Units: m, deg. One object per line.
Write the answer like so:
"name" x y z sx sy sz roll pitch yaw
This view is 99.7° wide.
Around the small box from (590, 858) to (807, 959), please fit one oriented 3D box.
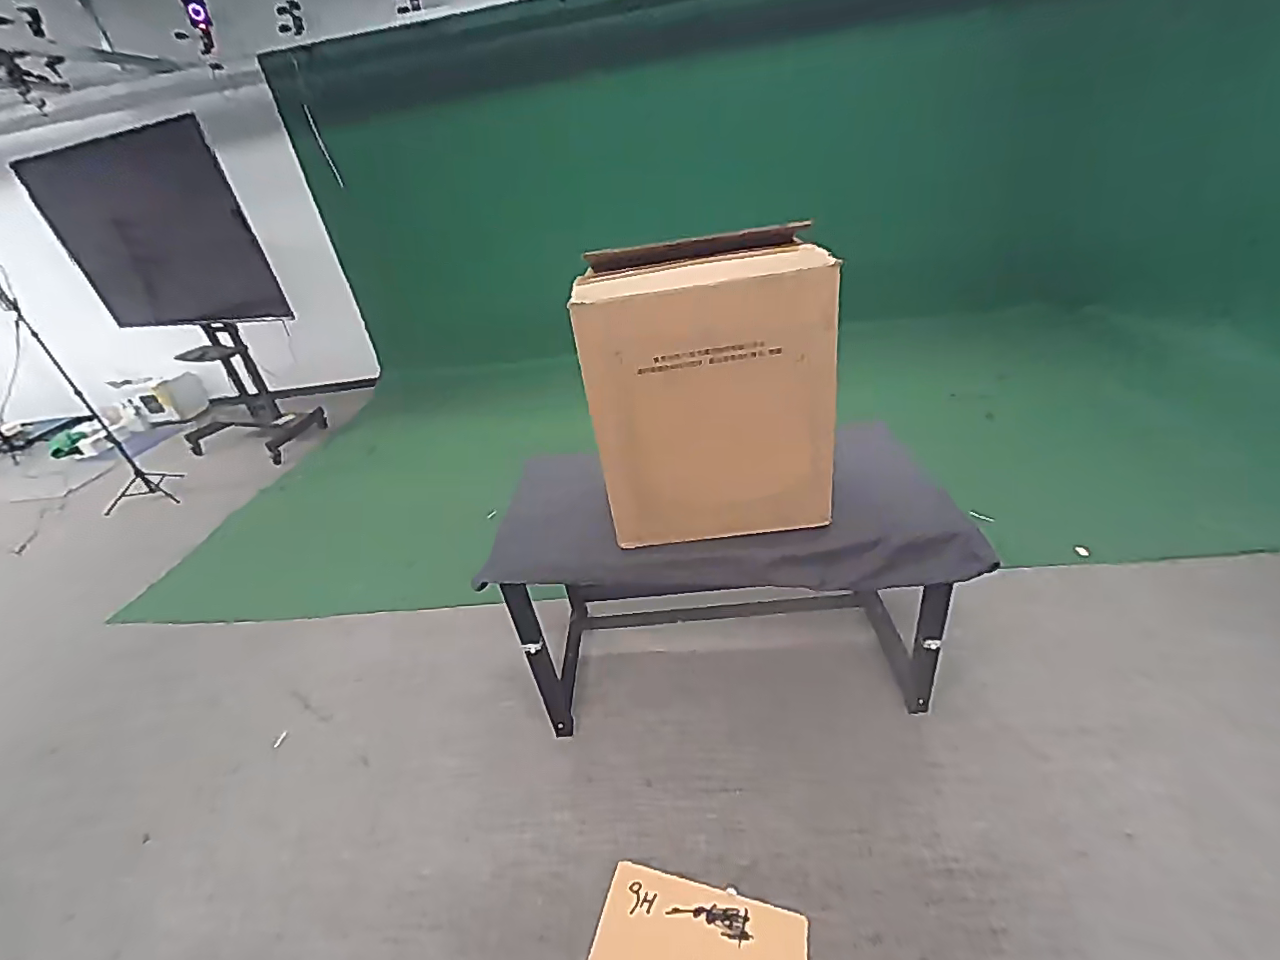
"small box" 0.039 0.461 0.433 0.168 0.176 0.179 6 28 15
